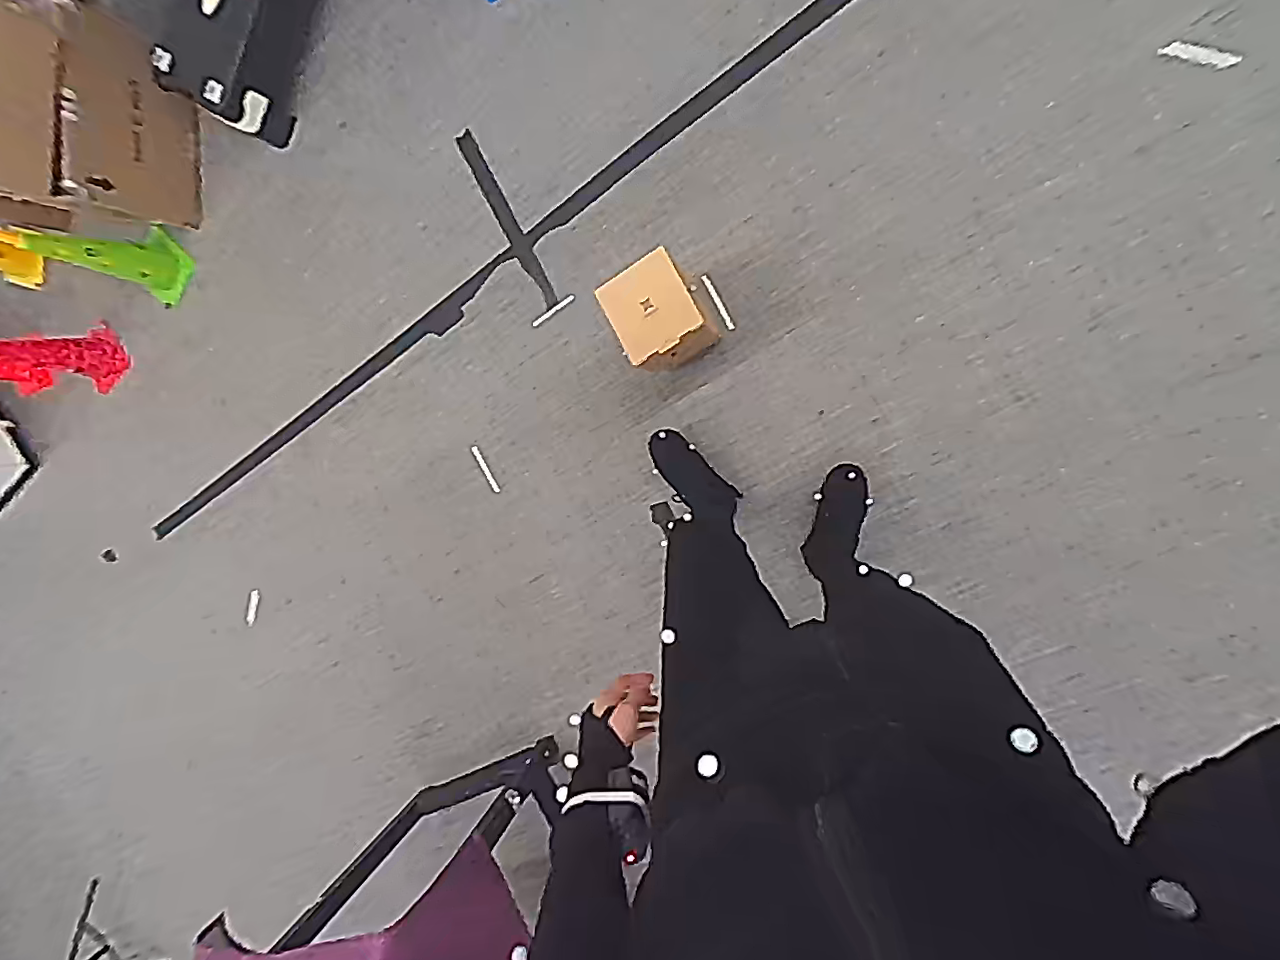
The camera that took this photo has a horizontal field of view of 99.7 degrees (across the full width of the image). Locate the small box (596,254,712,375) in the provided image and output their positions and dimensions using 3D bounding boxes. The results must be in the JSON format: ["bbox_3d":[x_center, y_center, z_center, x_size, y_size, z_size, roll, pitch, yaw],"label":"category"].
[{"bbox_3d":[0.037,-0.339,1.147,0.168,0.176,0.179,-29,89,16],"label":"small box"}]
